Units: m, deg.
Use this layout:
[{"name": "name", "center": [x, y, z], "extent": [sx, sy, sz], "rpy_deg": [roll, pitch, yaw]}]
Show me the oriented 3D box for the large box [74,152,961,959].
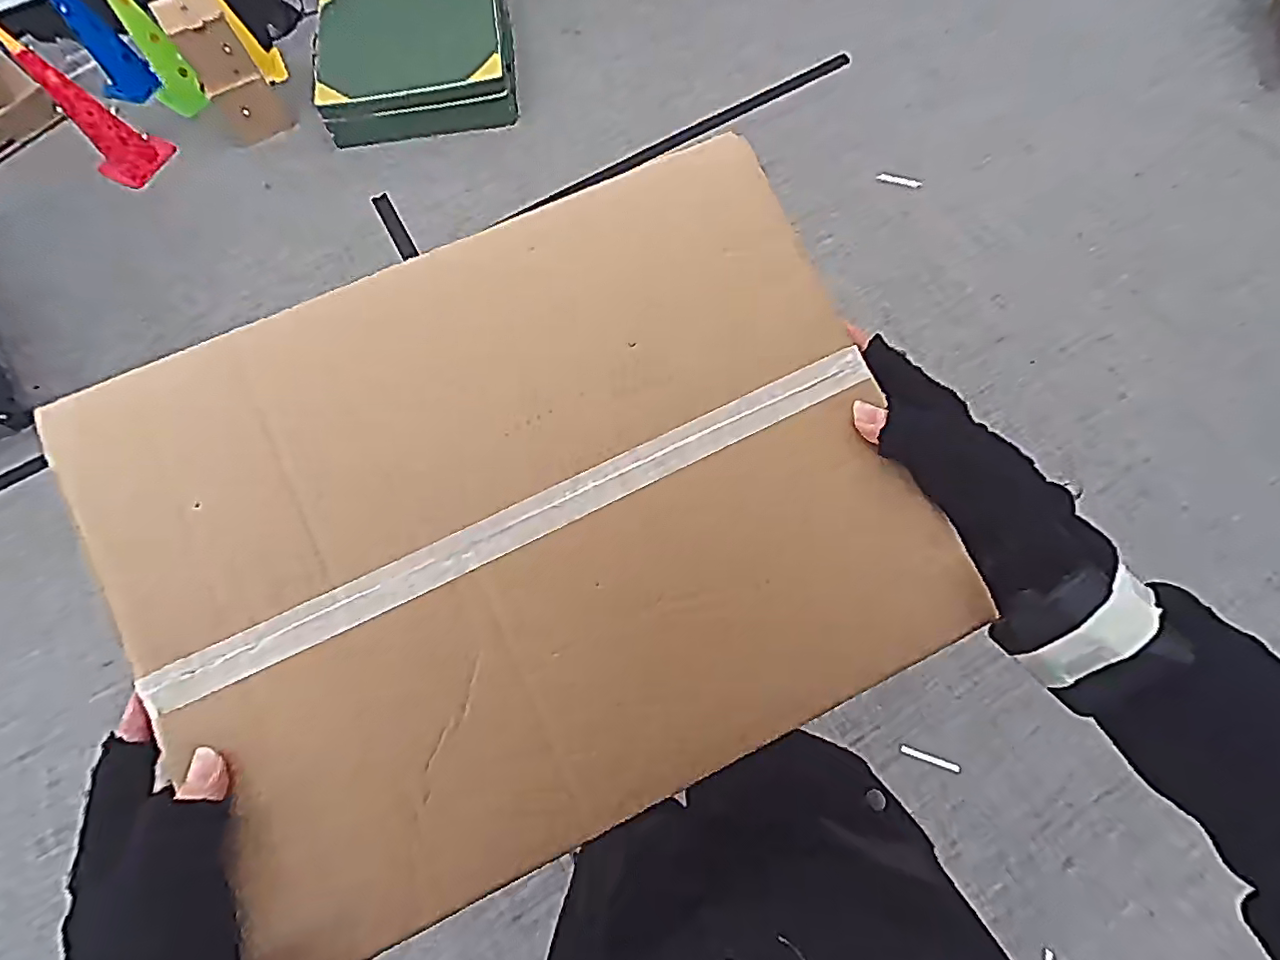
[{"name": "large box", "center": [-0.066, 0.037, 0.442], "extent": [0.408, 0.320, 0.320], "rpy_deg": [-25, 85, -6]}]
